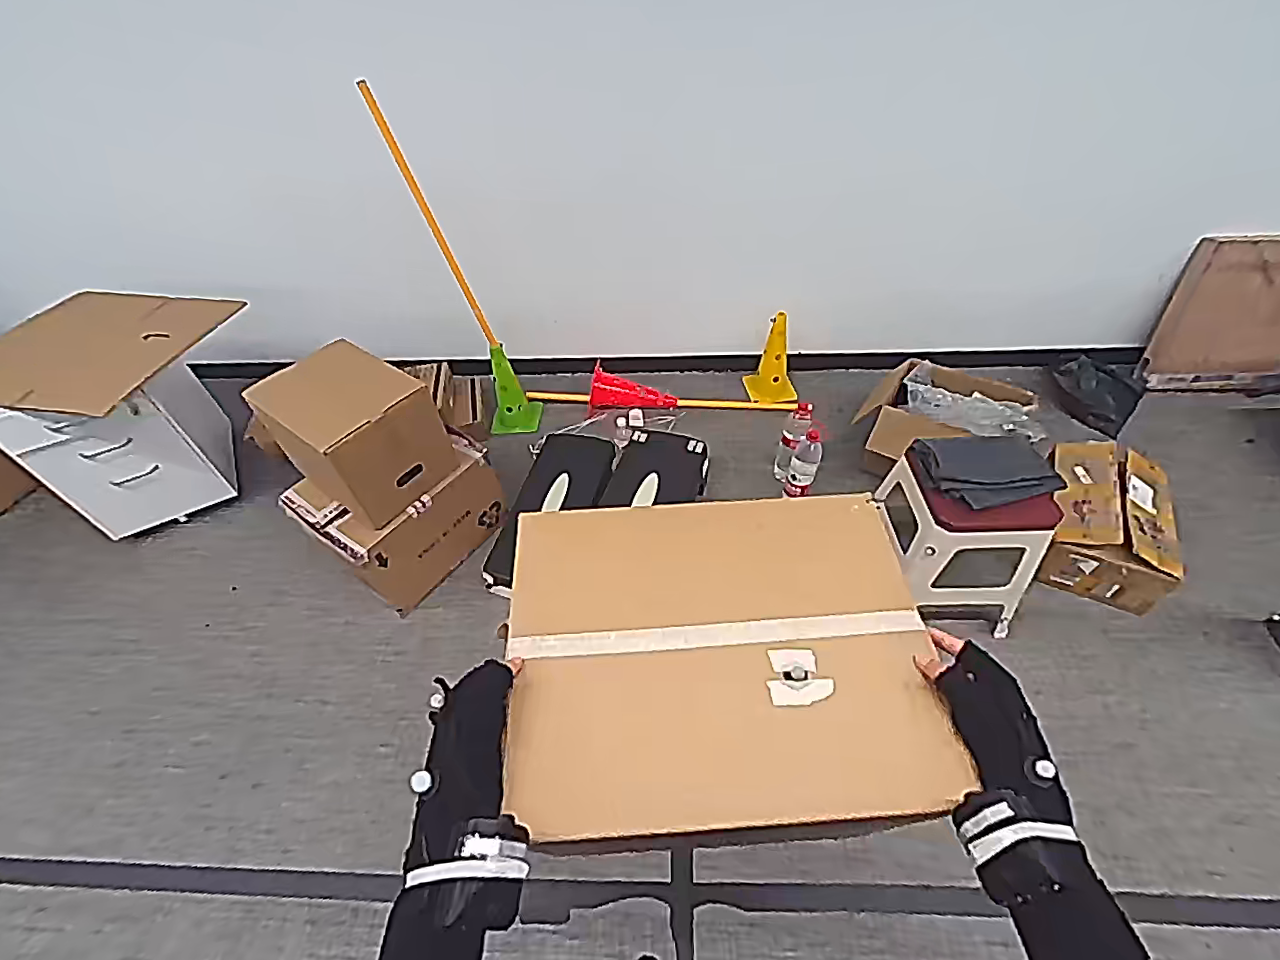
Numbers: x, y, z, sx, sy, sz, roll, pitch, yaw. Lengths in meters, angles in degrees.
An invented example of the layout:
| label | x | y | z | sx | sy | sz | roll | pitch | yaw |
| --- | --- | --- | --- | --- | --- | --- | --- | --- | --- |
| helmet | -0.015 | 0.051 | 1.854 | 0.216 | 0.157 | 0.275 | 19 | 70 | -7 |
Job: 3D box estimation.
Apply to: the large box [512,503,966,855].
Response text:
| label | x | y | z | sx | sy | sz | roll | pitch | yaw |
| --- | --- | --- | --- | --- | --- | --- | --- | --- | --- |
| large box | 0.076 | 0.251 | 0.666 | 0.408 | 0.320 | 0.320 | -3 | 54 | -2 |
